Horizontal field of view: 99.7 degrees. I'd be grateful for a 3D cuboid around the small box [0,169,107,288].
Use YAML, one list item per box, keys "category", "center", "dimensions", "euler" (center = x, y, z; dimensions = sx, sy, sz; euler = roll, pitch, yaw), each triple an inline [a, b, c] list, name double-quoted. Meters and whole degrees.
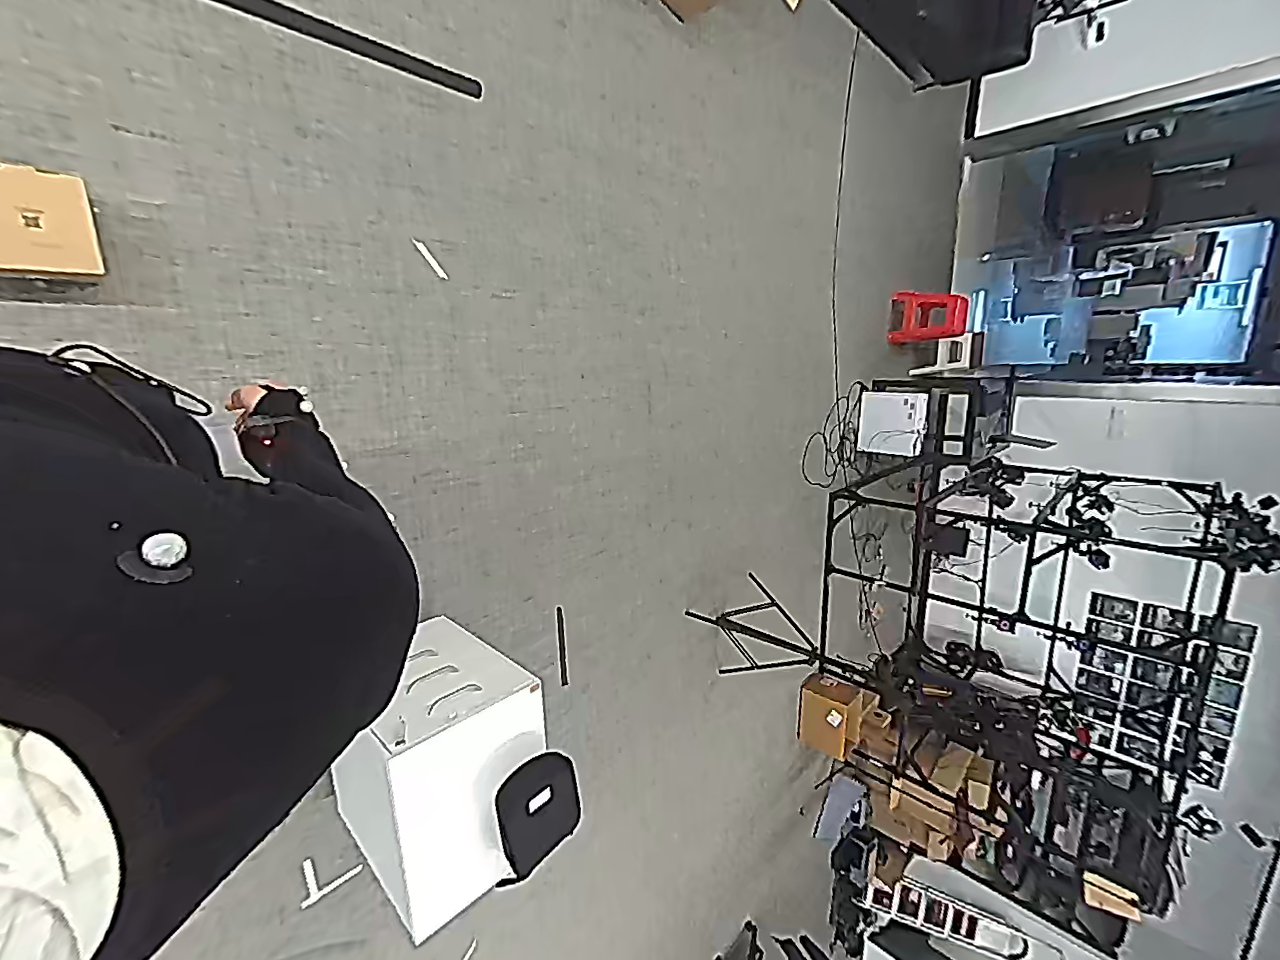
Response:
- category: "small box"
  center: [-1.145, -0.467, 1.021]
  dimensions: [0.168, 0.176, 0.179]
  euler: [-15, 109, -43]
